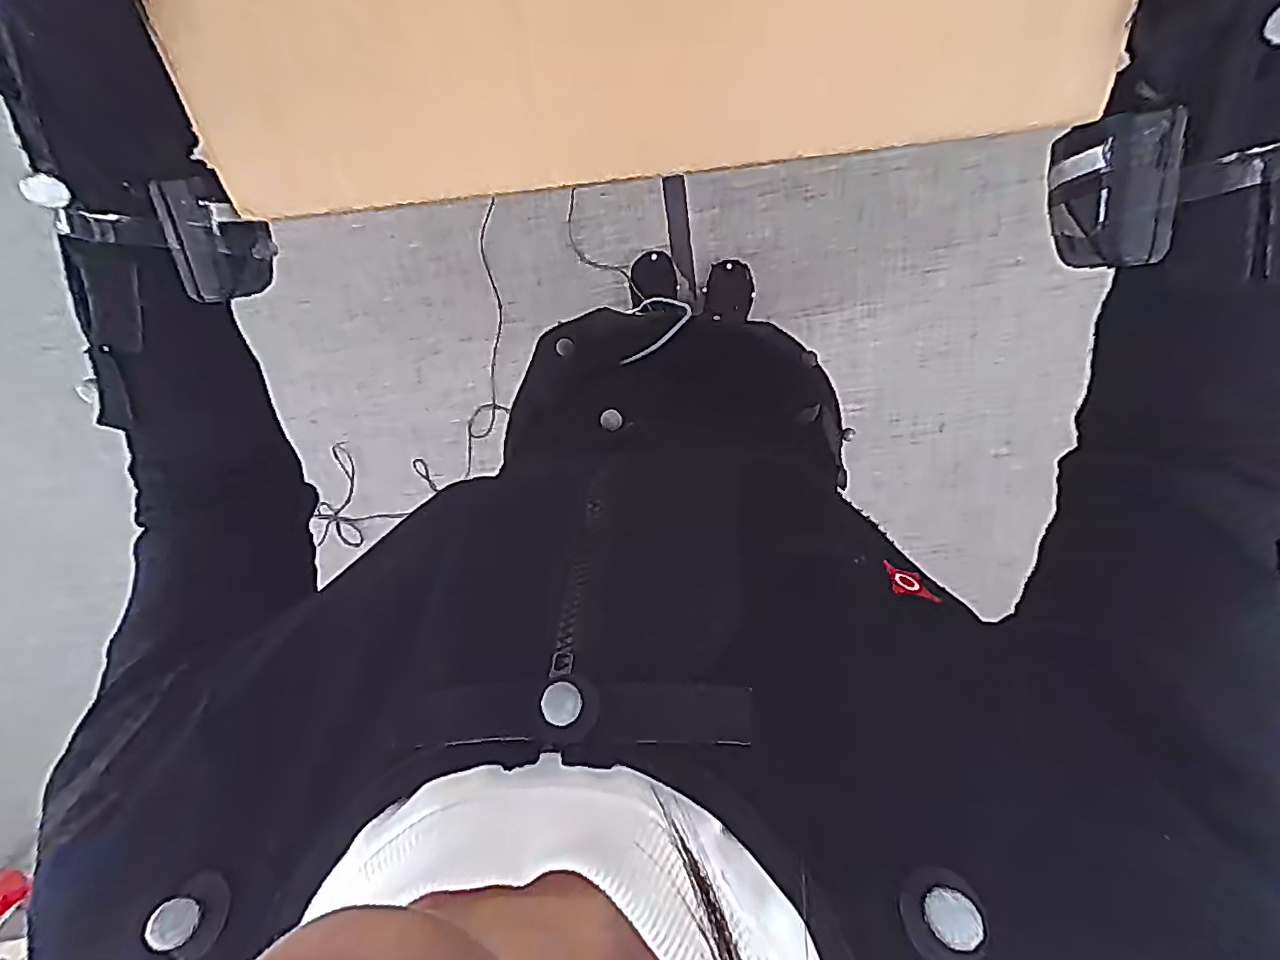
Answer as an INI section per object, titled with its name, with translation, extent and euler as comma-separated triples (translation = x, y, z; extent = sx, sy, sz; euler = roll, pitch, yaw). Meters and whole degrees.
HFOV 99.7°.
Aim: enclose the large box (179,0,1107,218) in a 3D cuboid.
[large box]
translation = -0.009, -0.363, 0.311
extent = 0.408, 0.320, 0.320
euler = -3, 123, 7
